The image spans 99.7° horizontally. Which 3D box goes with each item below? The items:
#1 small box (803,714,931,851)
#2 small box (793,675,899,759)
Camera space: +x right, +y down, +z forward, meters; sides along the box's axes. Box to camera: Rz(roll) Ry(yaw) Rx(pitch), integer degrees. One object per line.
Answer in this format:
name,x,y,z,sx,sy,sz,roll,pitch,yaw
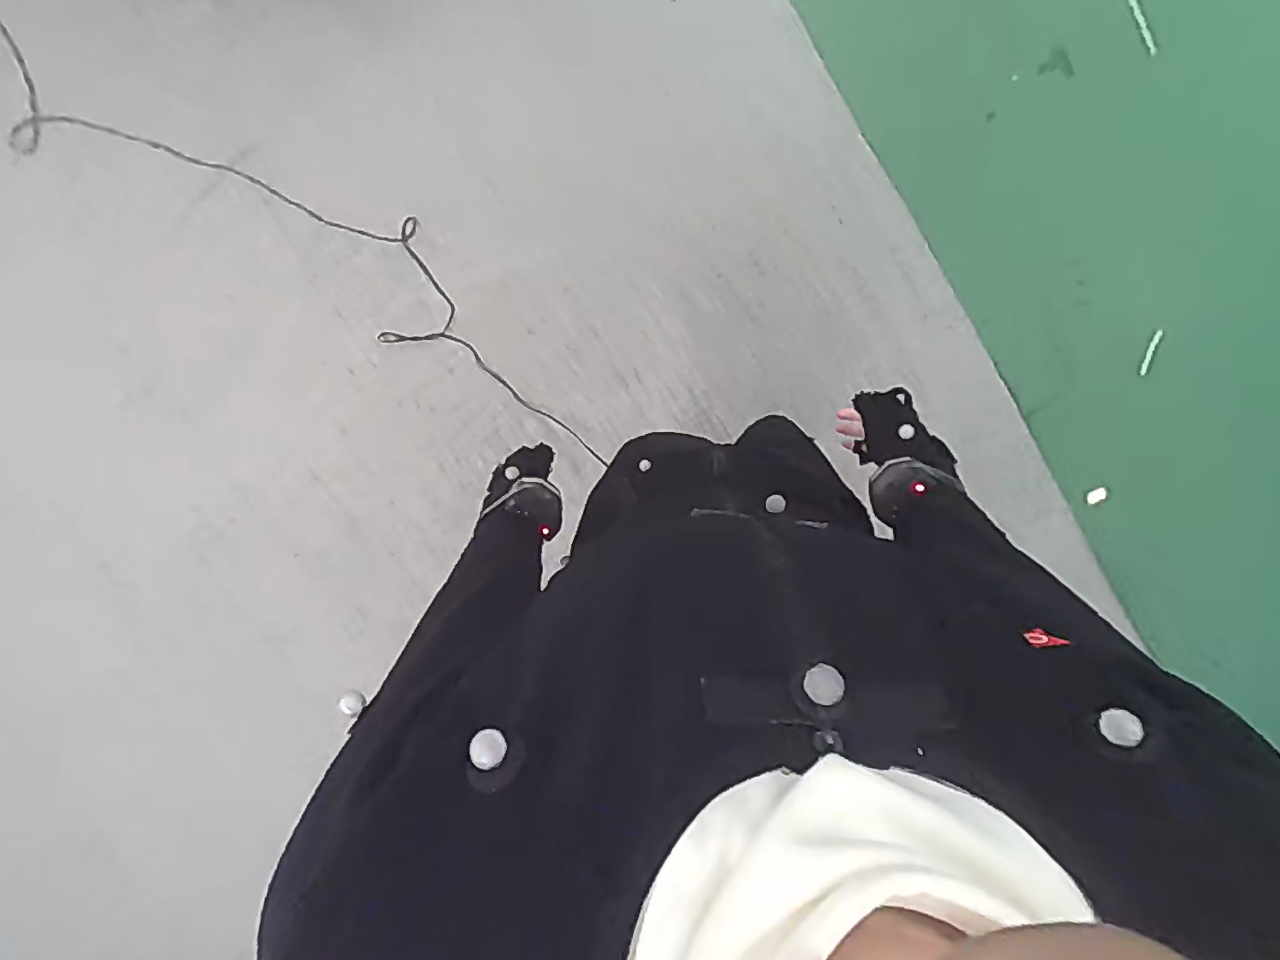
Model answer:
small box,0.488,0.650,1.193,0.168,0.176,0.179,-38,94,8
small box,0.509,0.633,1.369,0.179,0.176,0.168,-33,96,5
